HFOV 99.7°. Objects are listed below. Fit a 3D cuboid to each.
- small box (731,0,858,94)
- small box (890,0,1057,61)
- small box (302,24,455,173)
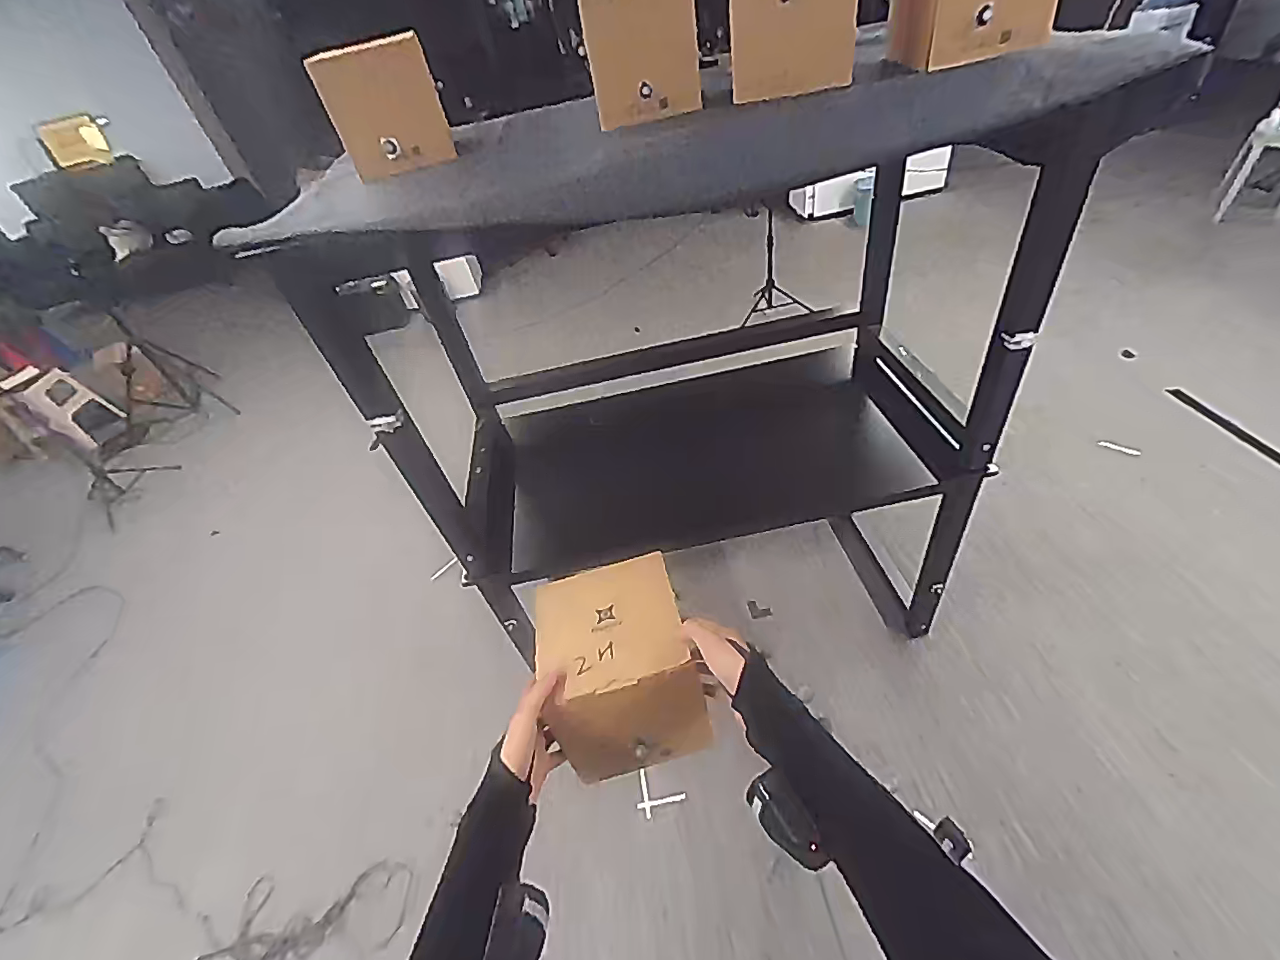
[{"bbox_3d":[0.229,-0.706,0.815,0.179,0.176,0.168,-1,45,13],"label":"small box"},{"bbox_3d":[0.476,-0.722,0.771,0.168,0.176,0.179,-9,43,6],"label":"small box"},{"bbox_3d":[-0.421,-0.635,0.903,0.168,0.176,0.179,-19,44,-5],"label":"small box"}]
